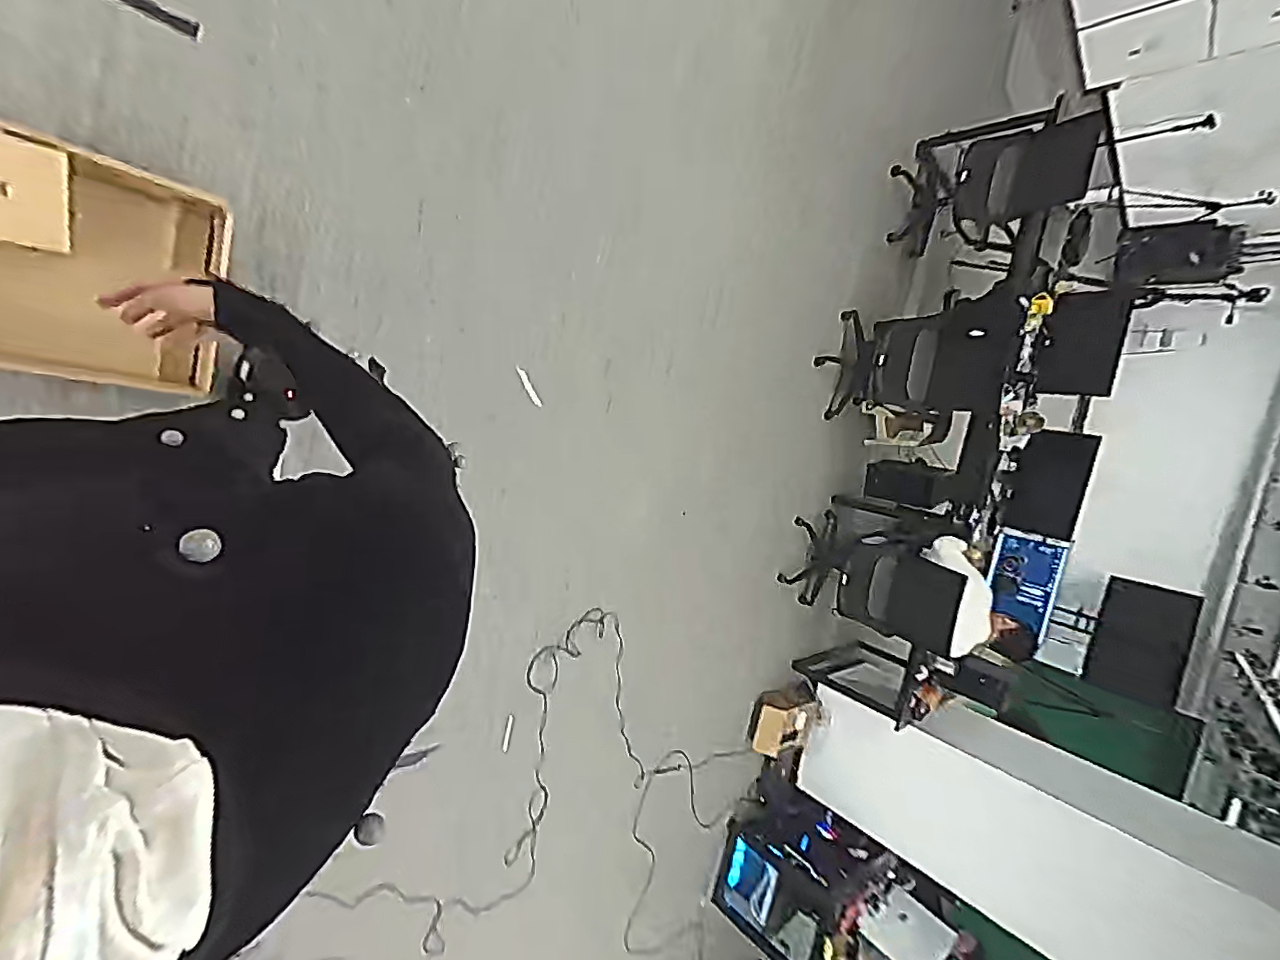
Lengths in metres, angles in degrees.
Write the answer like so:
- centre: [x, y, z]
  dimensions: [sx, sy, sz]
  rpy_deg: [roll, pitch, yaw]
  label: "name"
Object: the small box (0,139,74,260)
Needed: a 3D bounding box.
- centre: [-1.091, -0.480, 0.917]
  dimensions: [0.179, 0.176, 0.168]
  rpy_deg: [-1, 103, -45]
  label: "small box"
